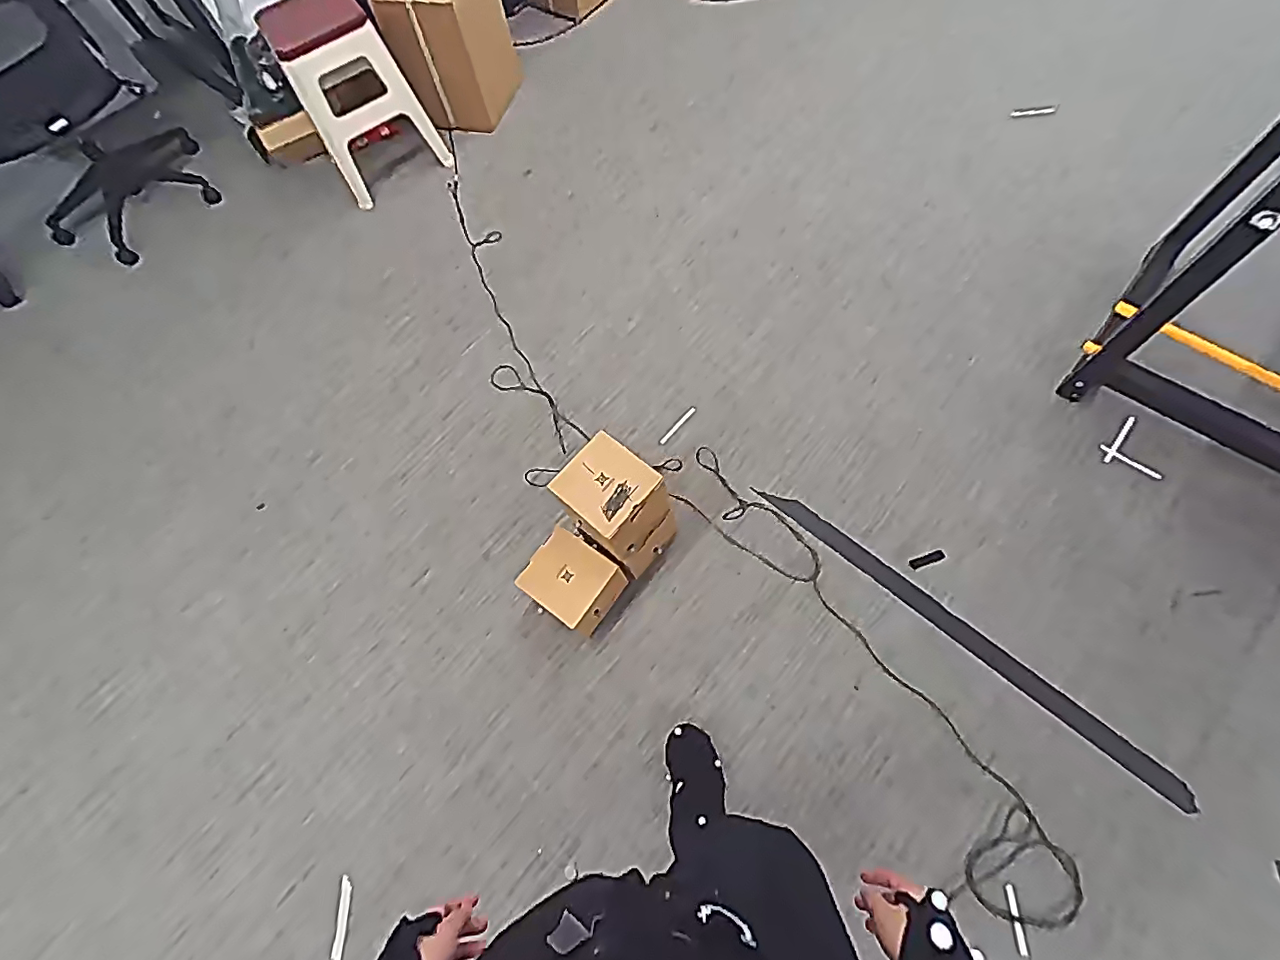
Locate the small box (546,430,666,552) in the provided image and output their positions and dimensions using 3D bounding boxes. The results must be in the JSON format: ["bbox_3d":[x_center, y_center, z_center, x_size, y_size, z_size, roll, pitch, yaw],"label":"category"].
[{"bbox_3d":[-0.062,0.033,1.132,0.179,0.176,0.168,38,76,21],"label":"small box"}]
